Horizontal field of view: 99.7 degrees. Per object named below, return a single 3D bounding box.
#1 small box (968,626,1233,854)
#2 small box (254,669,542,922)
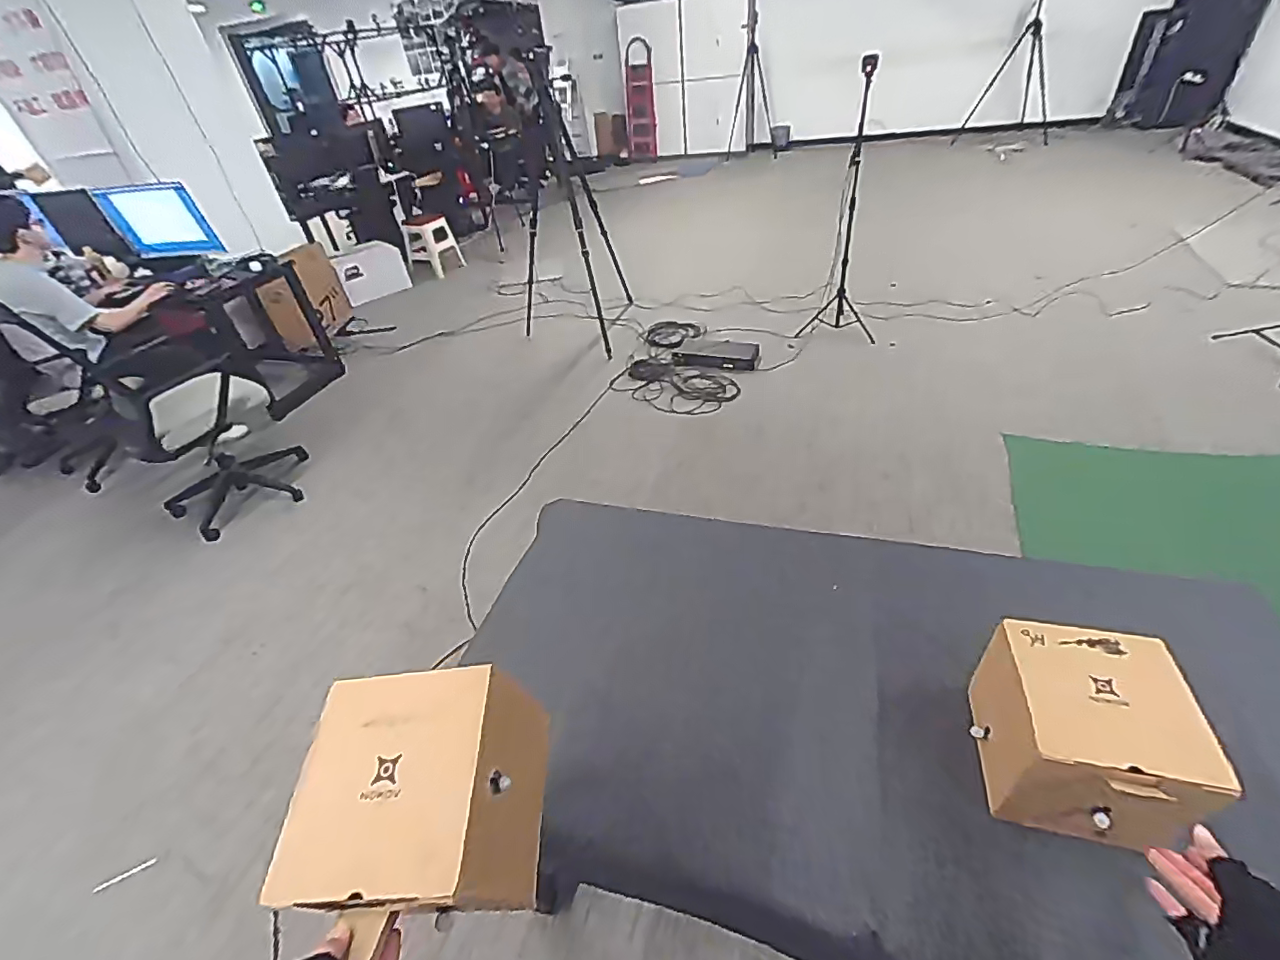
[{"bbox_3d":[0.512,0.304,0.638,0.168,0.176,0.179,5,41,16],"label":"small box"},{"bbox_3d":[-0.199,0.301,0.509,0.168,0.176,0.179,-8,49,6],"label":"small box"}]
